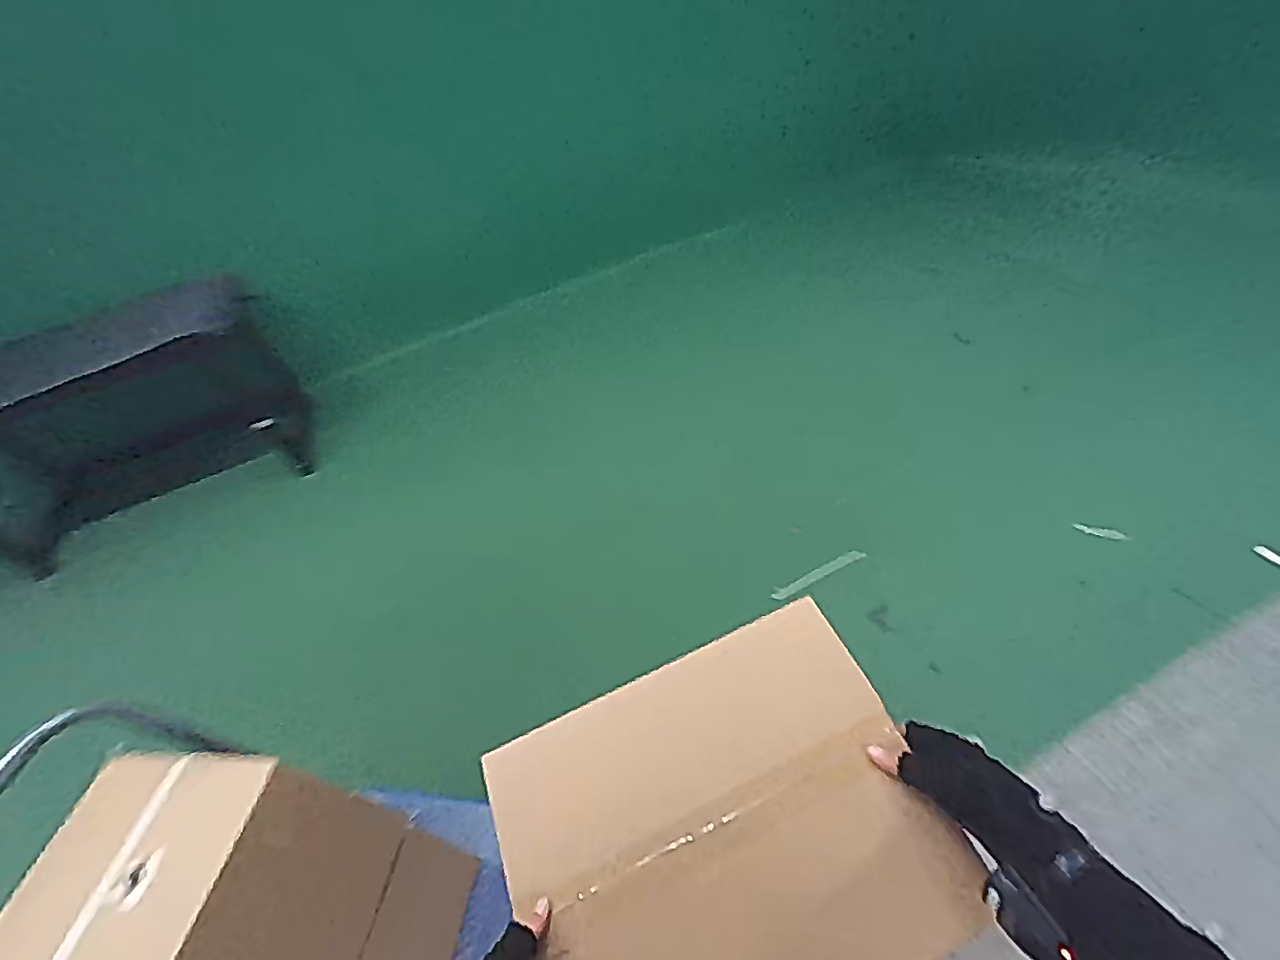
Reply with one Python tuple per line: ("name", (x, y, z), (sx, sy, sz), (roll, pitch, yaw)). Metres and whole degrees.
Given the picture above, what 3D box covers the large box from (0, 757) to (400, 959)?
("large box", (-0.602, 0.633, 0.717), (0.320, 0.320, 0.408), (-7, 44, 15))
